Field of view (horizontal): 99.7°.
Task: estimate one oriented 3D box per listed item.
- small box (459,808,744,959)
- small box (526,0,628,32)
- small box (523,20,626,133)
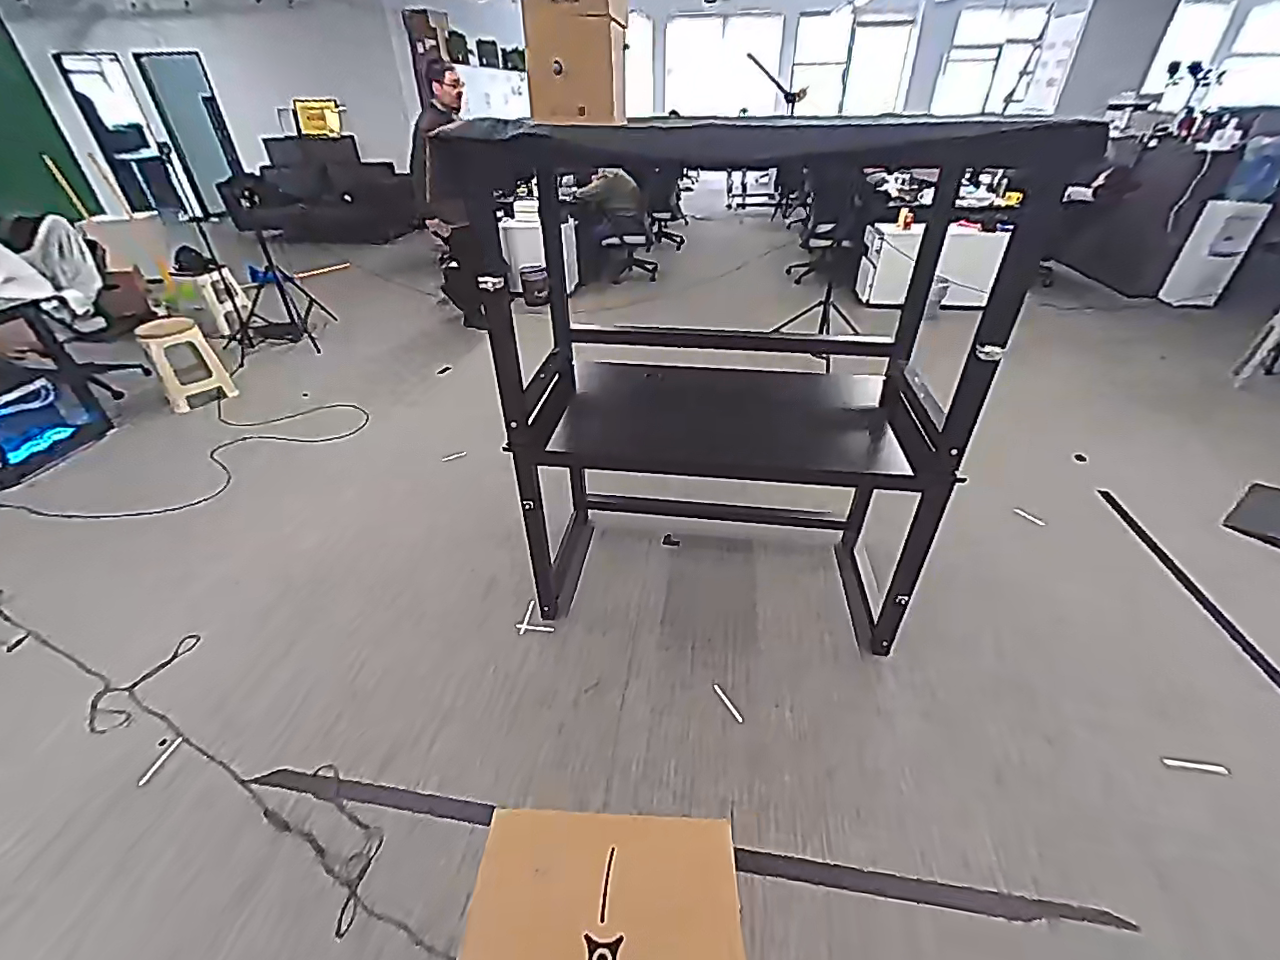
[{"bbox_3d":[-0.022,0.345,0.344,0.168,0.176,0.179,2,32,2],"label":"small box"},{"bbox_3d":[-0.117,-0.934,0.994,0.168,0.176,0.179,4,34,9],"label":"small box"},{"bbox_3d":[-0.121,-0.799,1.083,0.168,0.176,0.179,4,33,6],"label":"small box"}]
